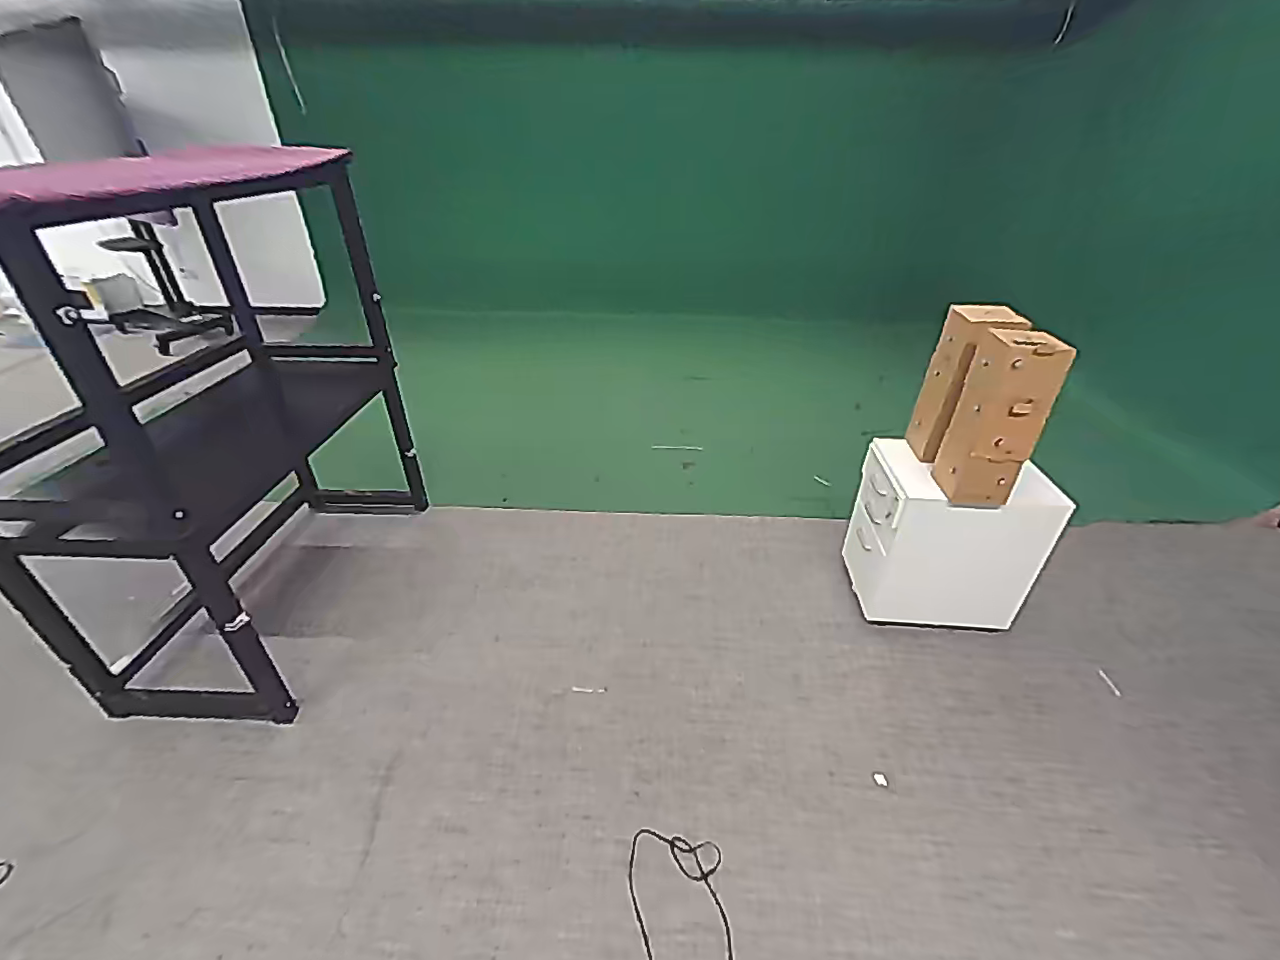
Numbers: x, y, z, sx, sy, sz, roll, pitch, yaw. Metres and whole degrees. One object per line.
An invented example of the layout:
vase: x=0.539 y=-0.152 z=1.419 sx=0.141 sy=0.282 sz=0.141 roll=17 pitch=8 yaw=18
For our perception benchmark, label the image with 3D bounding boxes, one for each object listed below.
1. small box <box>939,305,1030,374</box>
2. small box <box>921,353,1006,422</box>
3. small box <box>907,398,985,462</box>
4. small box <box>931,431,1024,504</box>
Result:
small box: x=1.073 y=-0.444 z=1.706 sx=0.179 sy=0.176 sz=0.168 roll=3 pitch=35 yaw=3
small box: x=1.067 y=-0.311 z=1.803 sx=0.168 sy=0.176 sz=0.179 roll=3 pitch=35 yaw=3
small box: x=1.060 y=-0.174 z=1.894 sx=0.168 sy=0.176 sz=0.179 roll=3 pitch=34 yaw=4
small box: x=1.044 y=-0.038 z=1.689 sx=0.168 sy=0.176 sz=0.179 roll=4 pitch=31 yaw=2
